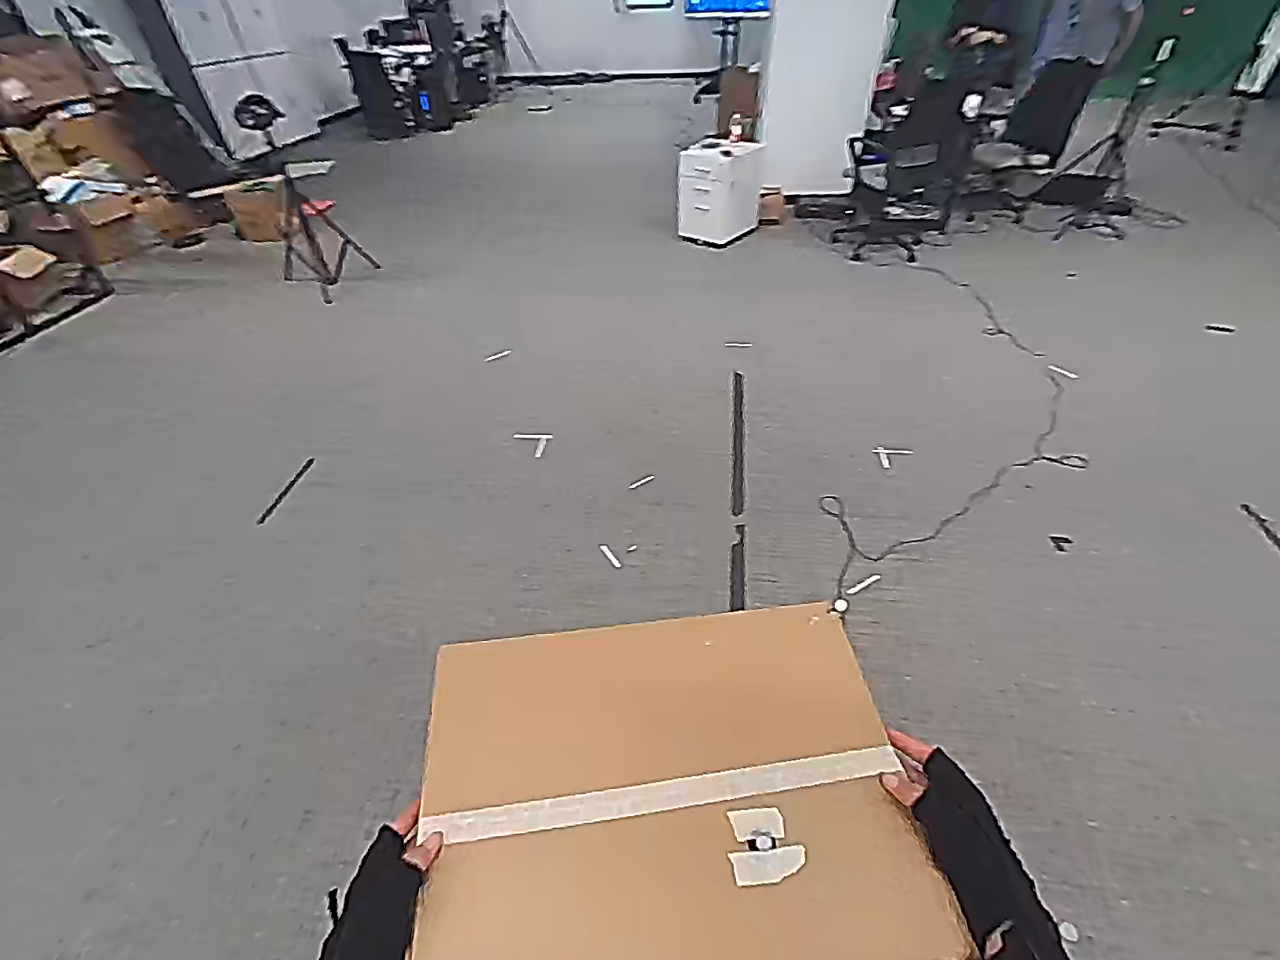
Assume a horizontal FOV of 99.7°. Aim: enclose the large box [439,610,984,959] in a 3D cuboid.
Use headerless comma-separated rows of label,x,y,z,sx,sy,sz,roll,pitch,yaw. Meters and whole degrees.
large box,0.034,0.369,0.574,0.408,0.320,0.320,-4,50,-6
